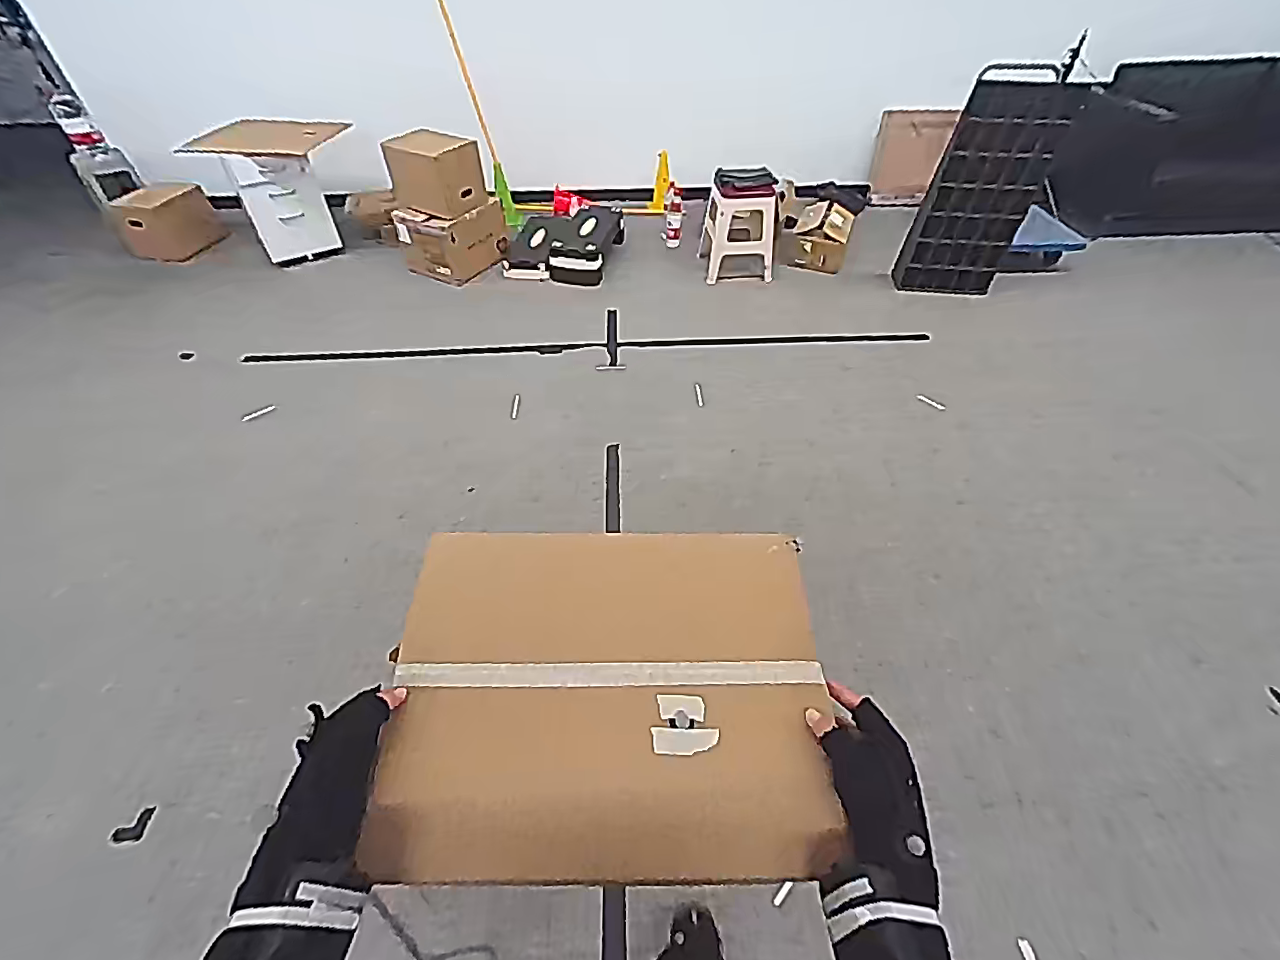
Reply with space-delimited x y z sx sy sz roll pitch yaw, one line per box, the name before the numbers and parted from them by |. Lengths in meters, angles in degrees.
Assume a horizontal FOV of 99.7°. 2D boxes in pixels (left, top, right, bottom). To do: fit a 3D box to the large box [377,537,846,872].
large box | -0.029 0.279 0.657 0.408 0.320 0.320 1 54 -1
